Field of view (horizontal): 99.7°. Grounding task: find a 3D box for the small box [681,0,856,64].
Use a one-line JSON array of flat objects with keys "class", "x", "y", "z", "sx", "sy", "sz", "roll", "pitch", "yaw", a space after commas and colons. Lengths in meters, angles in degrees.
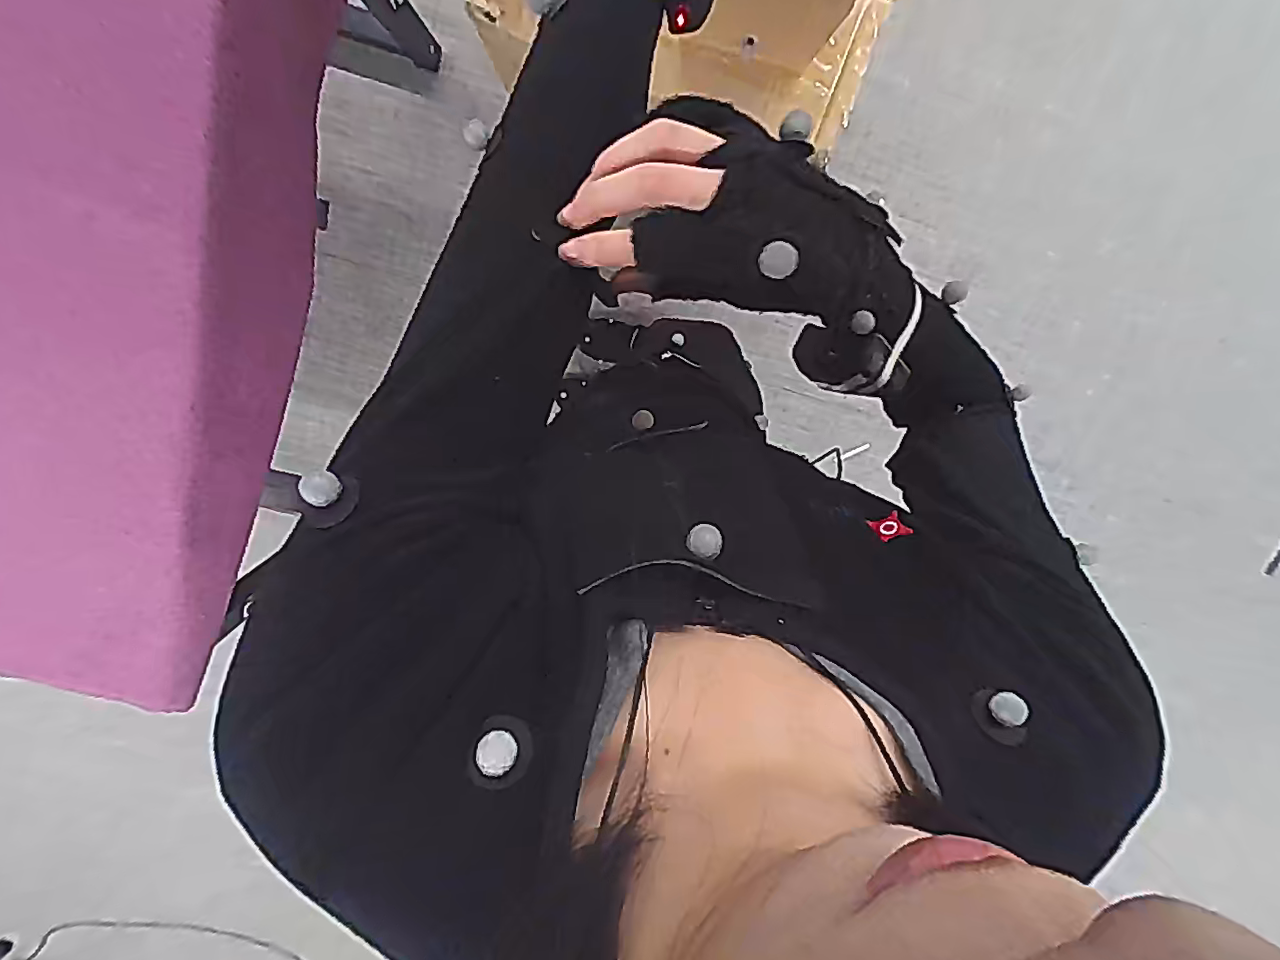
[{"class": "small box", "x": 0.155, "y": -0.615, "z": 0.617, "sx": 0.179, "sy": 0.176, "sz": 0.168, "roll": 10, "pitch": 107, "yaw": -6}]
